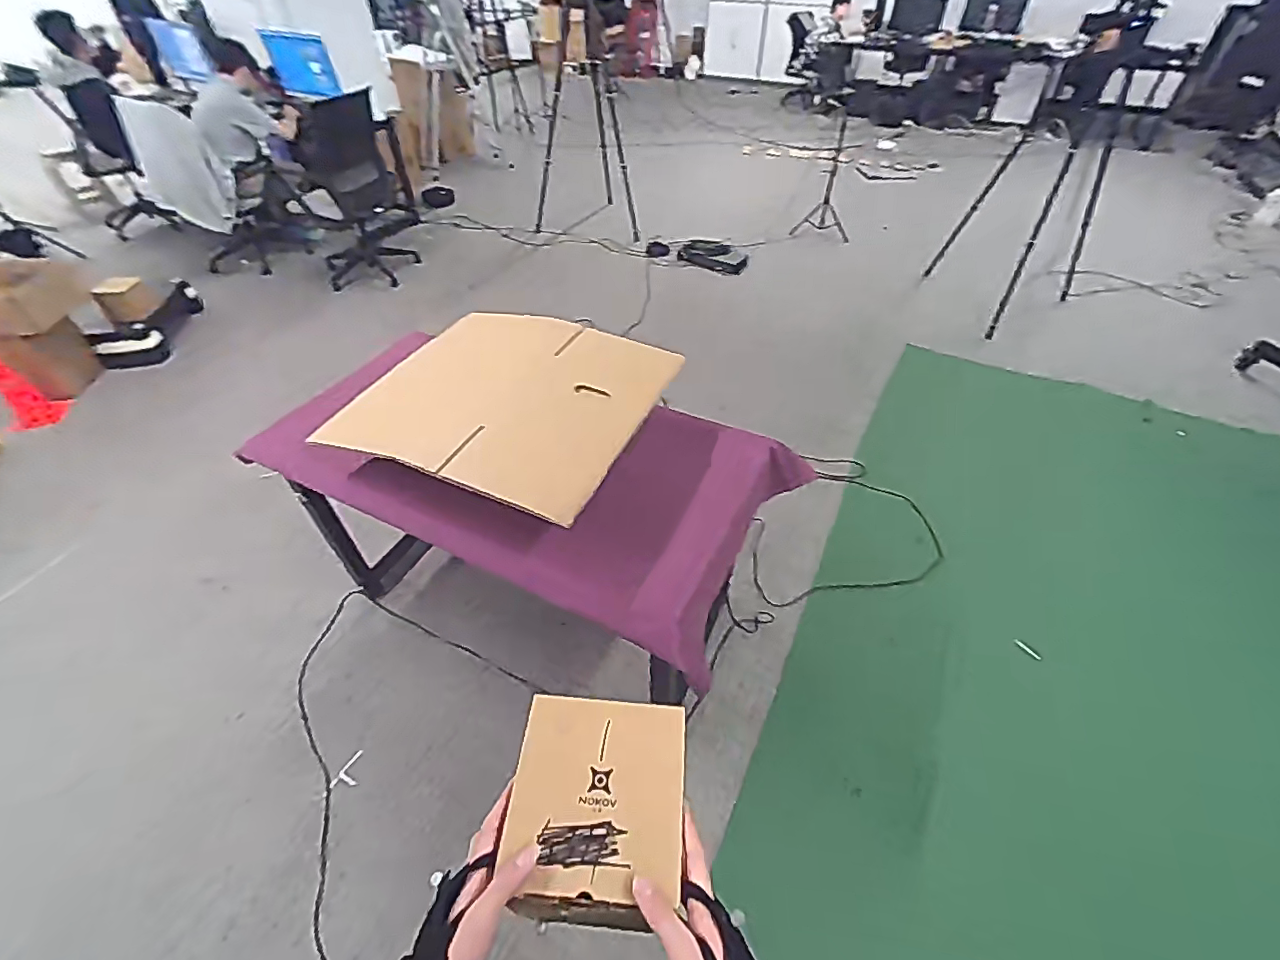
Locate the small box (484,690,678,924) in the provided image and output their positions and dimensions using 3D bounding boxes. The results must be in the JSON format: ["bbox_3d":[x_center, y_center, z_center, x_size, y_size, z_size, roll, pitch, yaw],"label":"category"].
[{"bbox_3d":[-0.047,0.347,0.573,0.168,0.176,0.179,3,45,3],"label":"small box"}]
